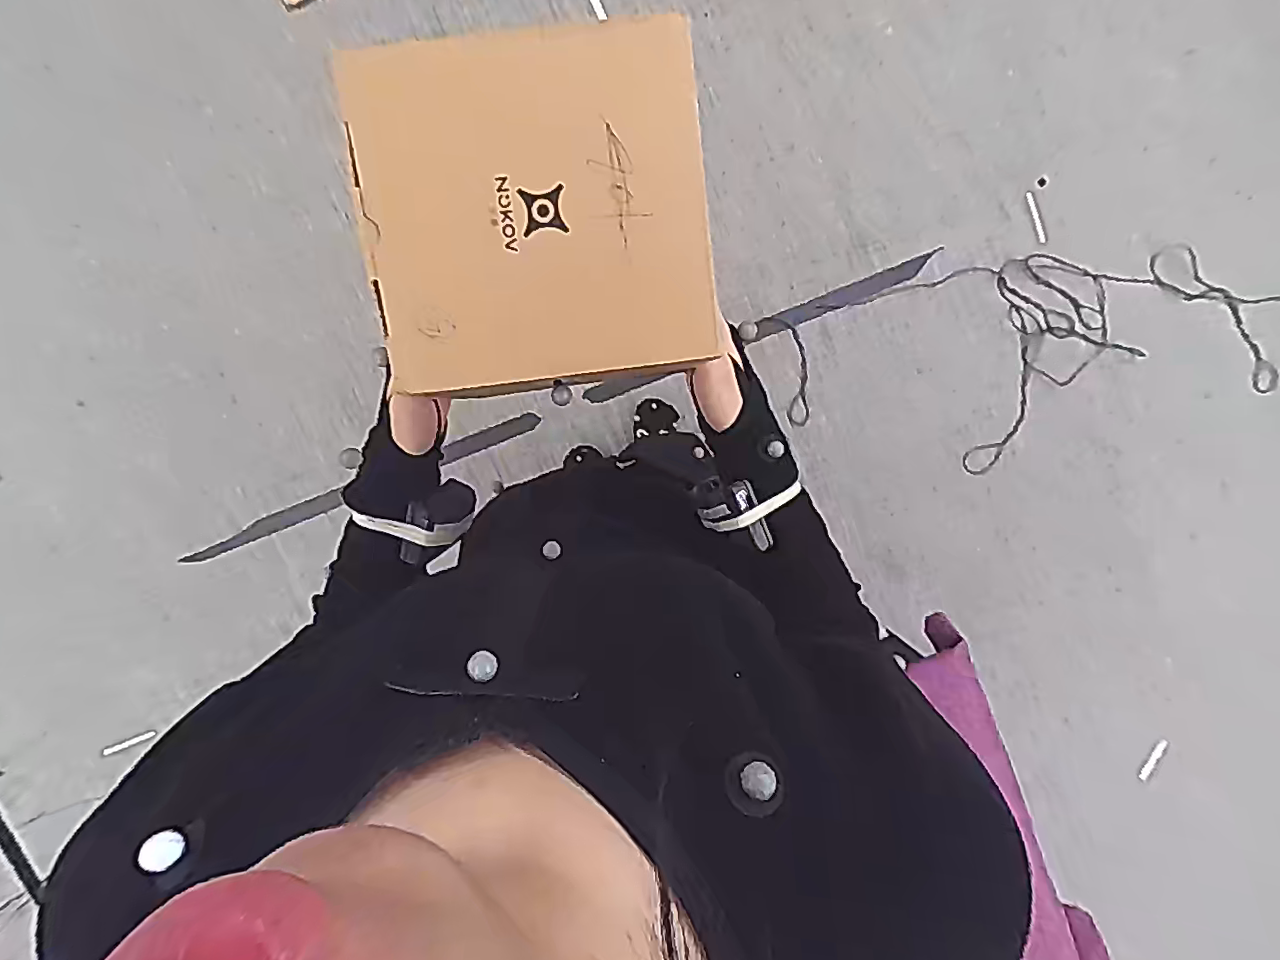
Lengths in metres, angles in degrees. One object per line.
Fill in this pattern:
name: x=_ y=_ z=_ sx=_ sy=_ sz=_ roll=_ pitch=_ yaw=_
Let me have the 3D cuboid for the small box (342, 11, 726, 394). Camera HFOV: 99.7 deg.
small box: x=-0.051 y=-0.148 z=0.351 sx=0.179 sy=0.176 sz=0.168 roll=-8 pitch=99 yaw=-1
